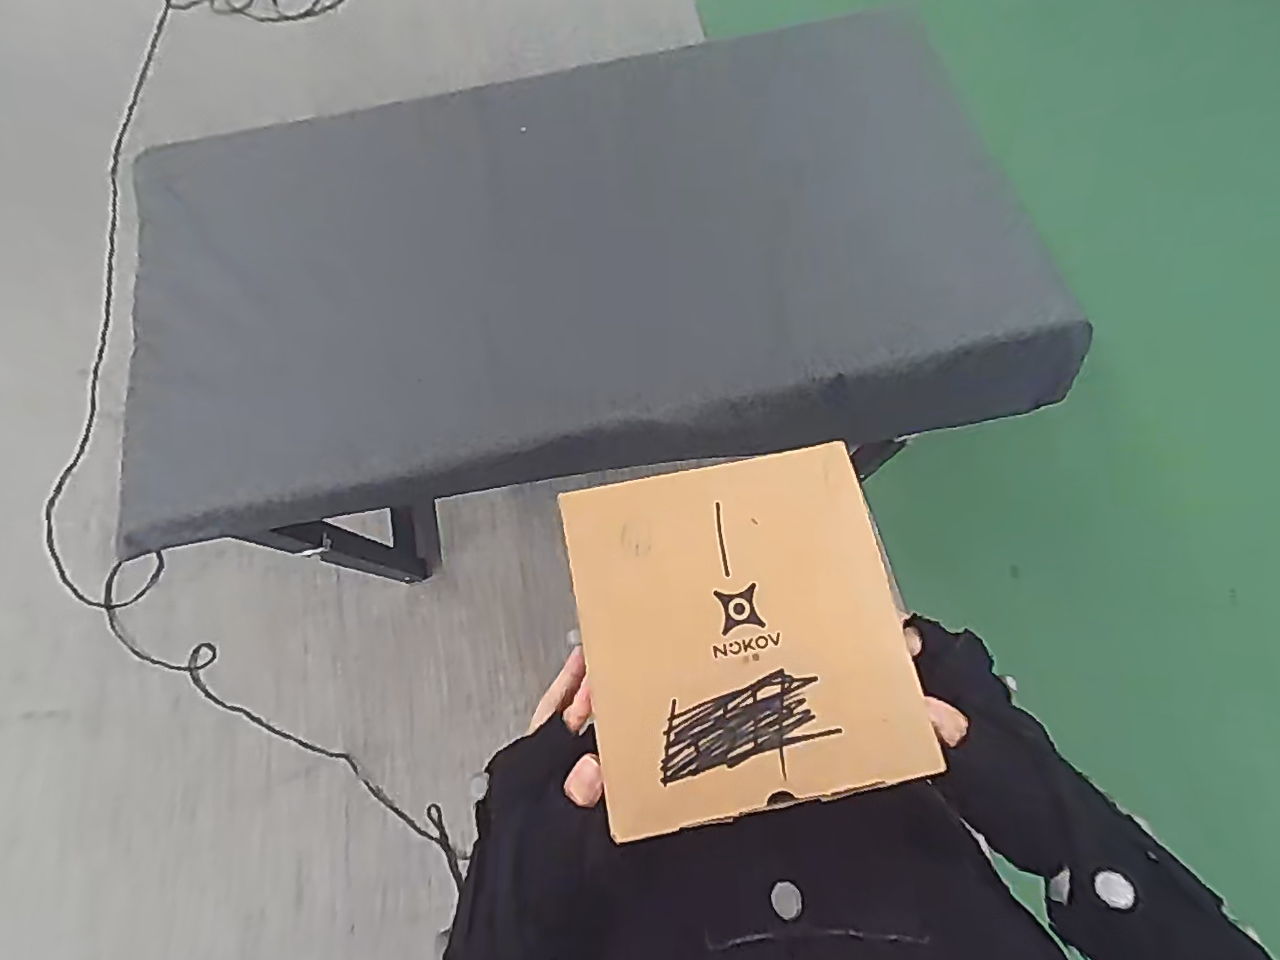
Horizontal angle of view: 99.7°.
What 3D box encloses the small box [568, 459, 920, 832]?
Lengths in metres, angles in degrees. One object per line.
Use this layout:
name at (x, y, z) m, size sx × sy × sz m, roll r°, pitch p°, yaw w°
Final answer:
small box at (0.051, 0.100, 0.370) m, size 0.168 × 0.176 × 0.179 m, roll -9°, pitch 77°, yaw -3°
